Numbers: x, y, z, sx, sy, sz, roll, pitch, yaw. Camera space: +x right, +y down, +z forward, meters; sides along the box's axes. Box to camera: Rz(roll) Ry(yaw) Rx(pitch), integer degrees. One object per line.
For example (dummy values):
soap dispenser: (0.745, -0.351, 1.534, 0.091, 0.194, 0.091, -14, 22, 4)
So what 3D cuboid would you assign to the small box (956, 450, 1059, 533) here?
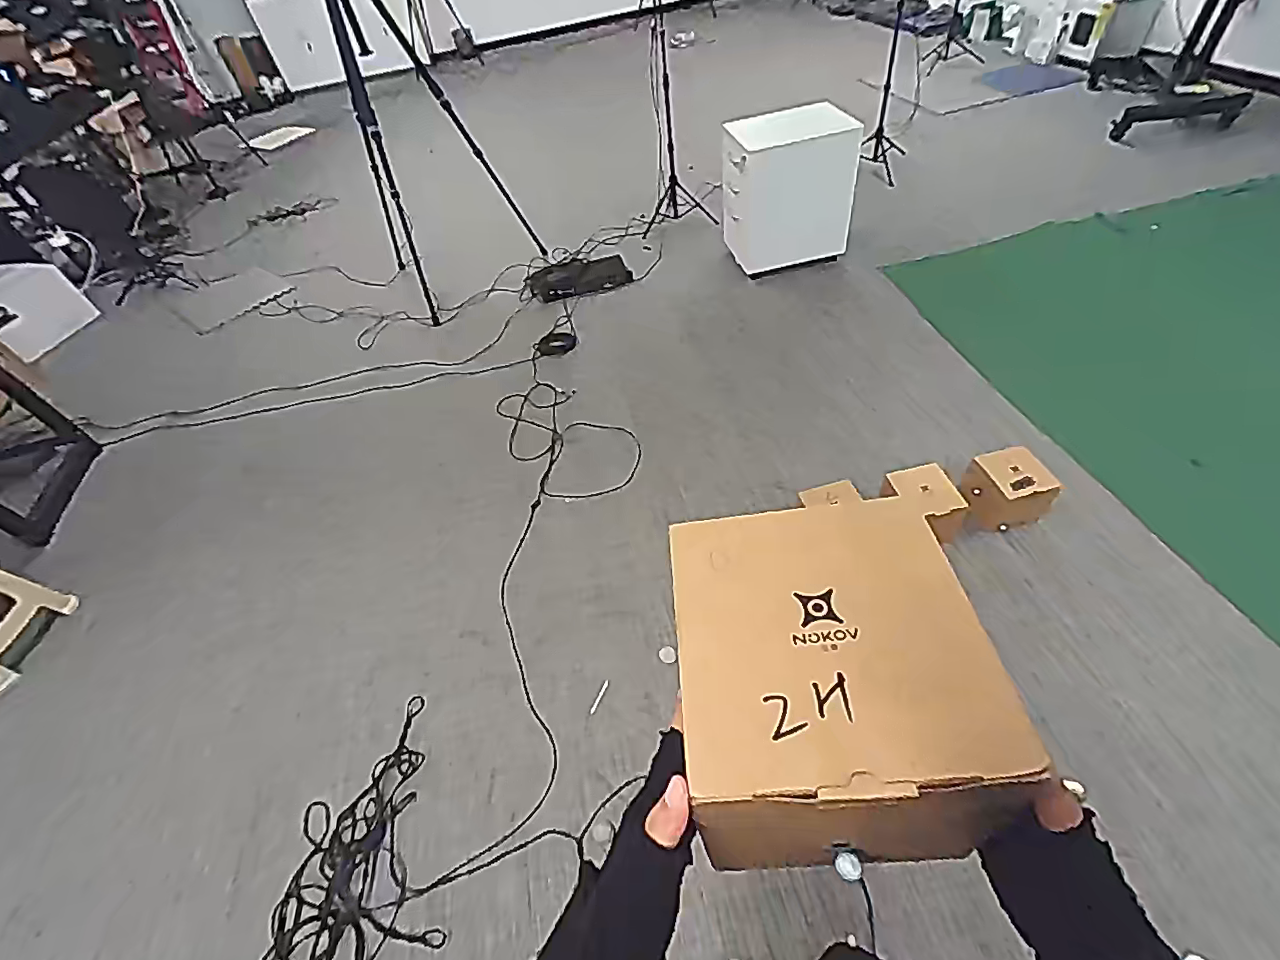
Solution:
small box: (1.104, 0.042, 1.640, 0.168, 0.176, 0.179, -13, 48, -2)

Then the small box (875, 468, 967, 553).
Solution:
small box: (0.840, 0.094, 1.637, 0.168, 0.176, 0.179, -12, 49, -2)
